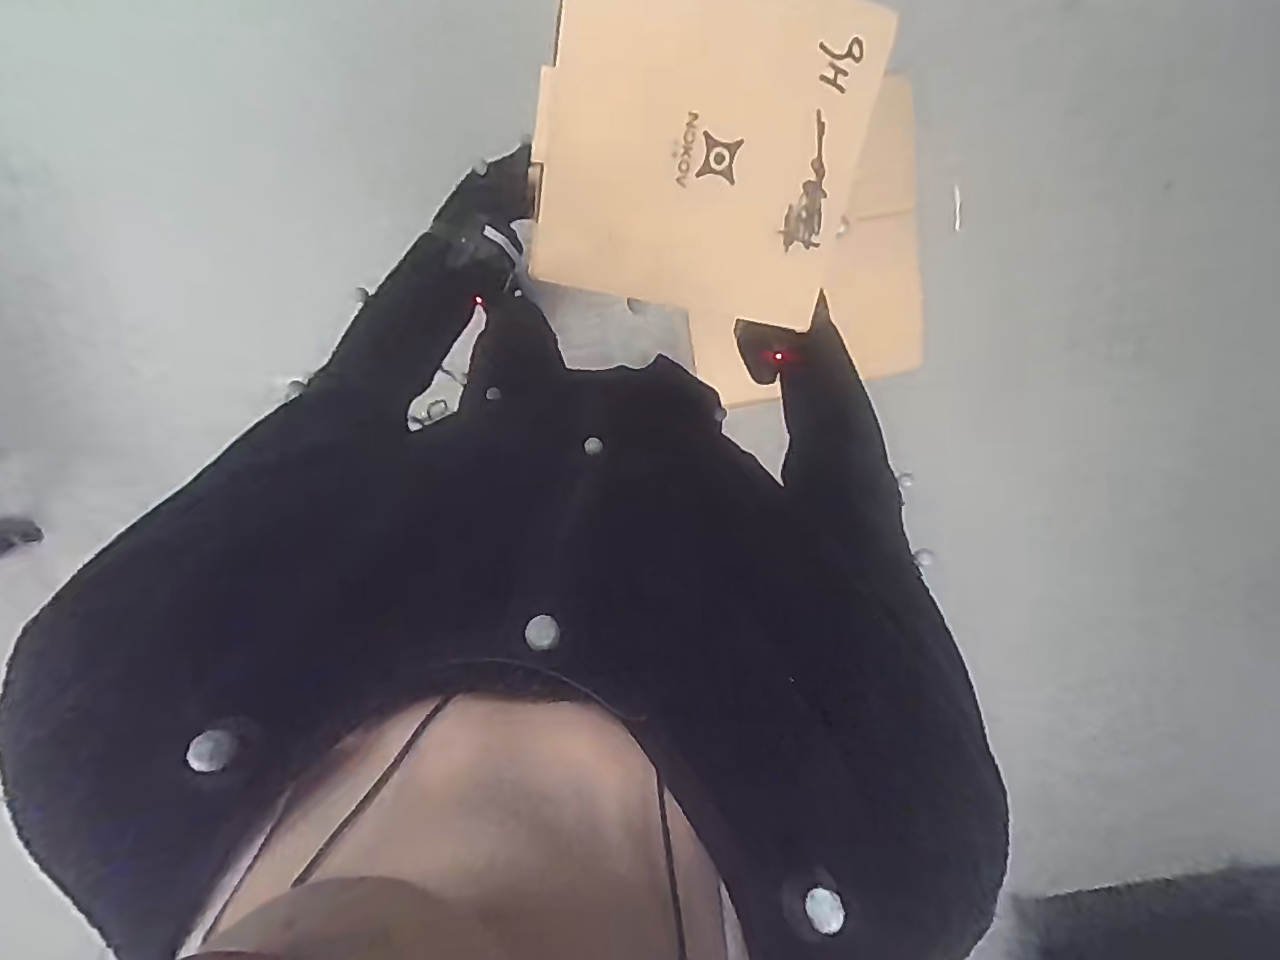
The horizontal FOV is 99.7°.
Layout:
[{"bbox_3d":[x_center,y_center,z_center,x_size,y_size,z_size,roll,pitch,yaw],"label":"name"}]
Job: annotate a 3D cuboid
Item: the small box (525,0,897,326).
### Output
[{"bbox_3d":[0.028,-0.209,0.368,0.179,0.176,0.168,8,111,-8],"label":"small box"}]
